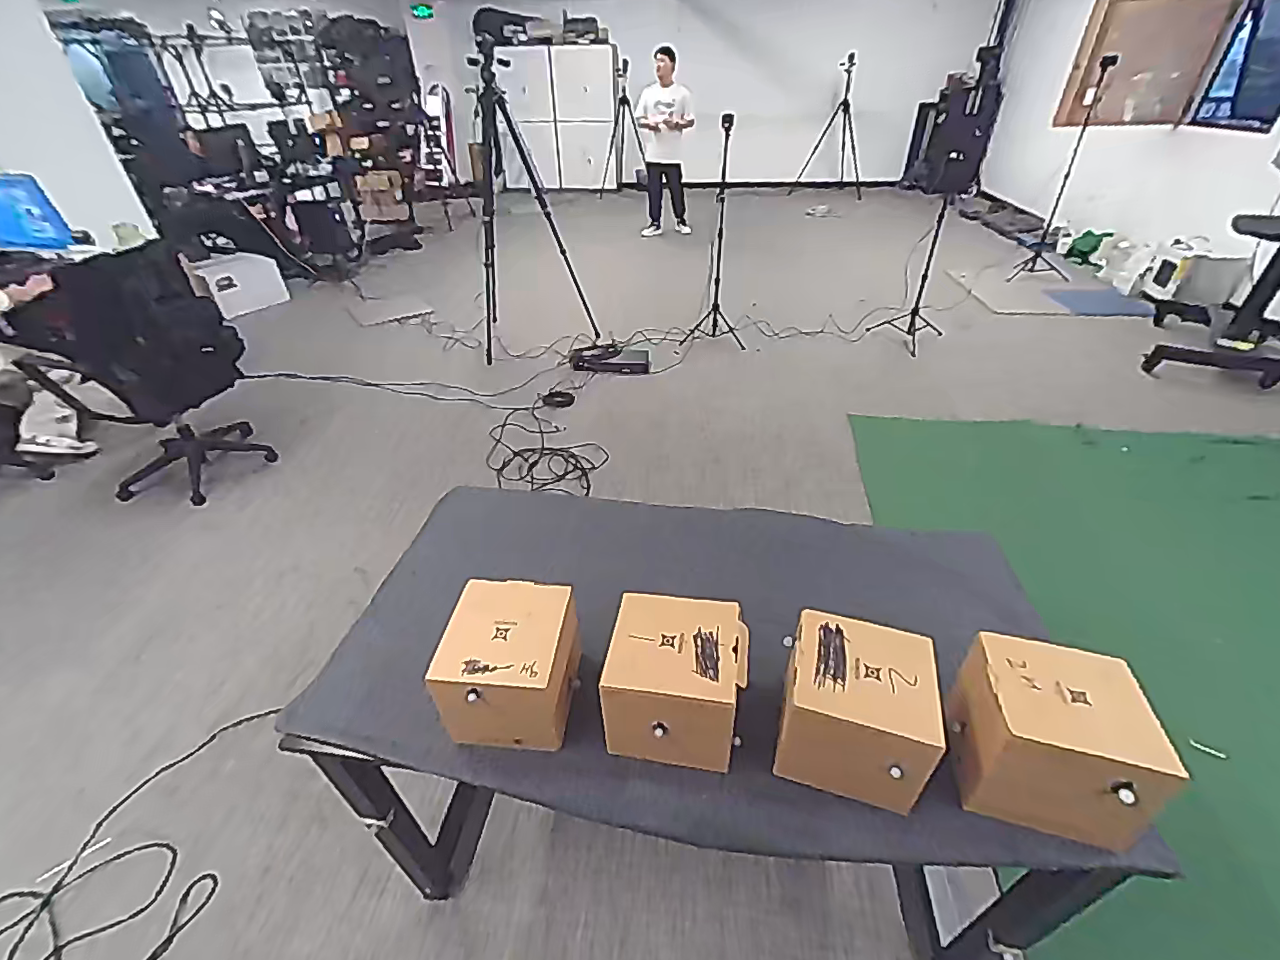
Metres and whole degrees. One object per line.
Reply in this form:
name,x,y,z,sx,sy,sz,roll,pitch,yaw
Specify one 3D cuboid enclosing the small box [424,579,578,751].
small box,-0.192,0.274,0.812,0.168,0.176,0.179,2,37,6
